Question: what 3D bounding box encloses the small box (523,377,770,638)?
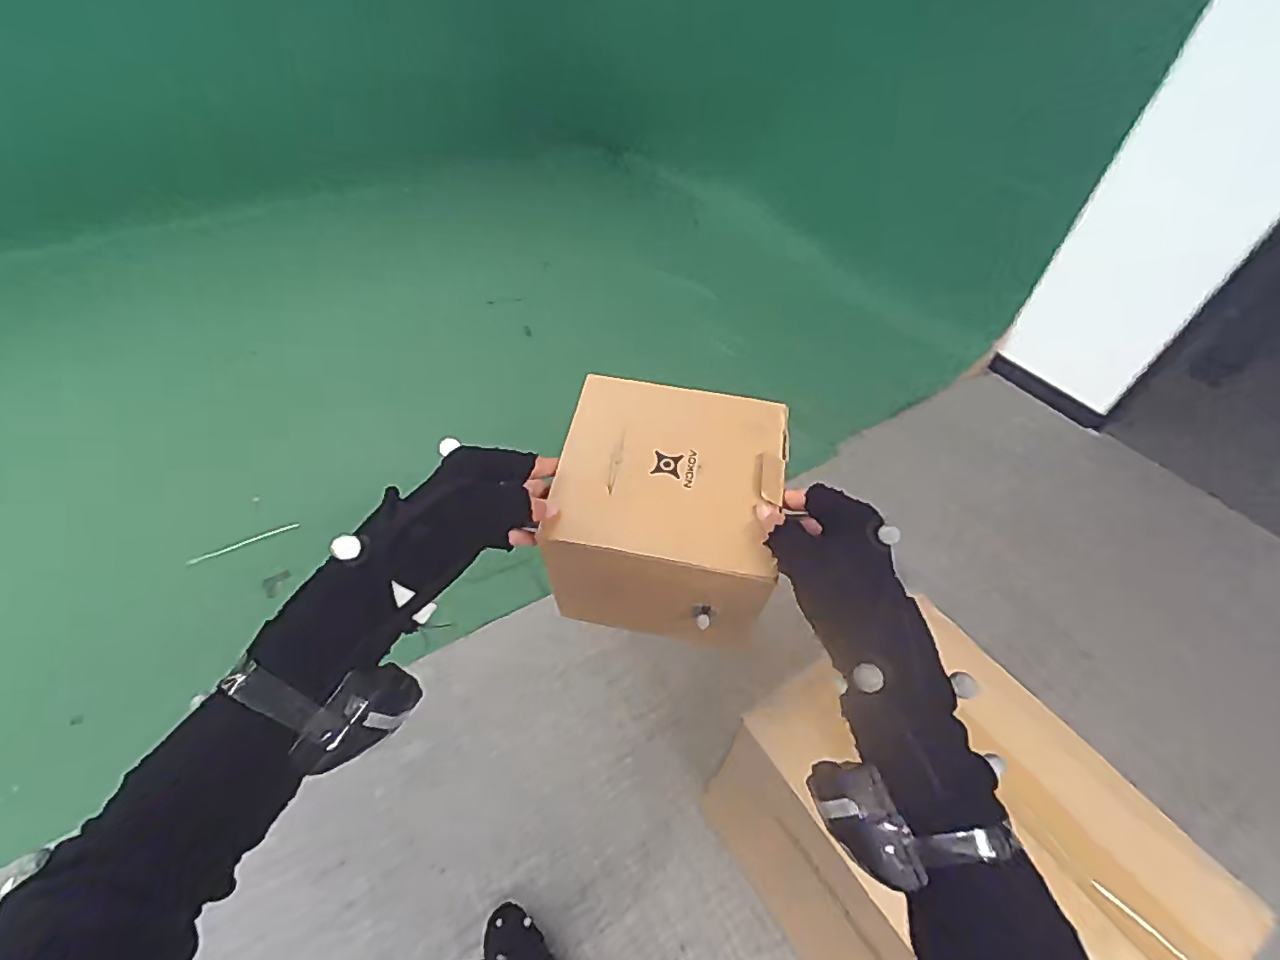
[{"bbox_3d":[0.013,0.032,0.494,0.179,0.176,0.168,7,55,6],"label":"small box"}]
